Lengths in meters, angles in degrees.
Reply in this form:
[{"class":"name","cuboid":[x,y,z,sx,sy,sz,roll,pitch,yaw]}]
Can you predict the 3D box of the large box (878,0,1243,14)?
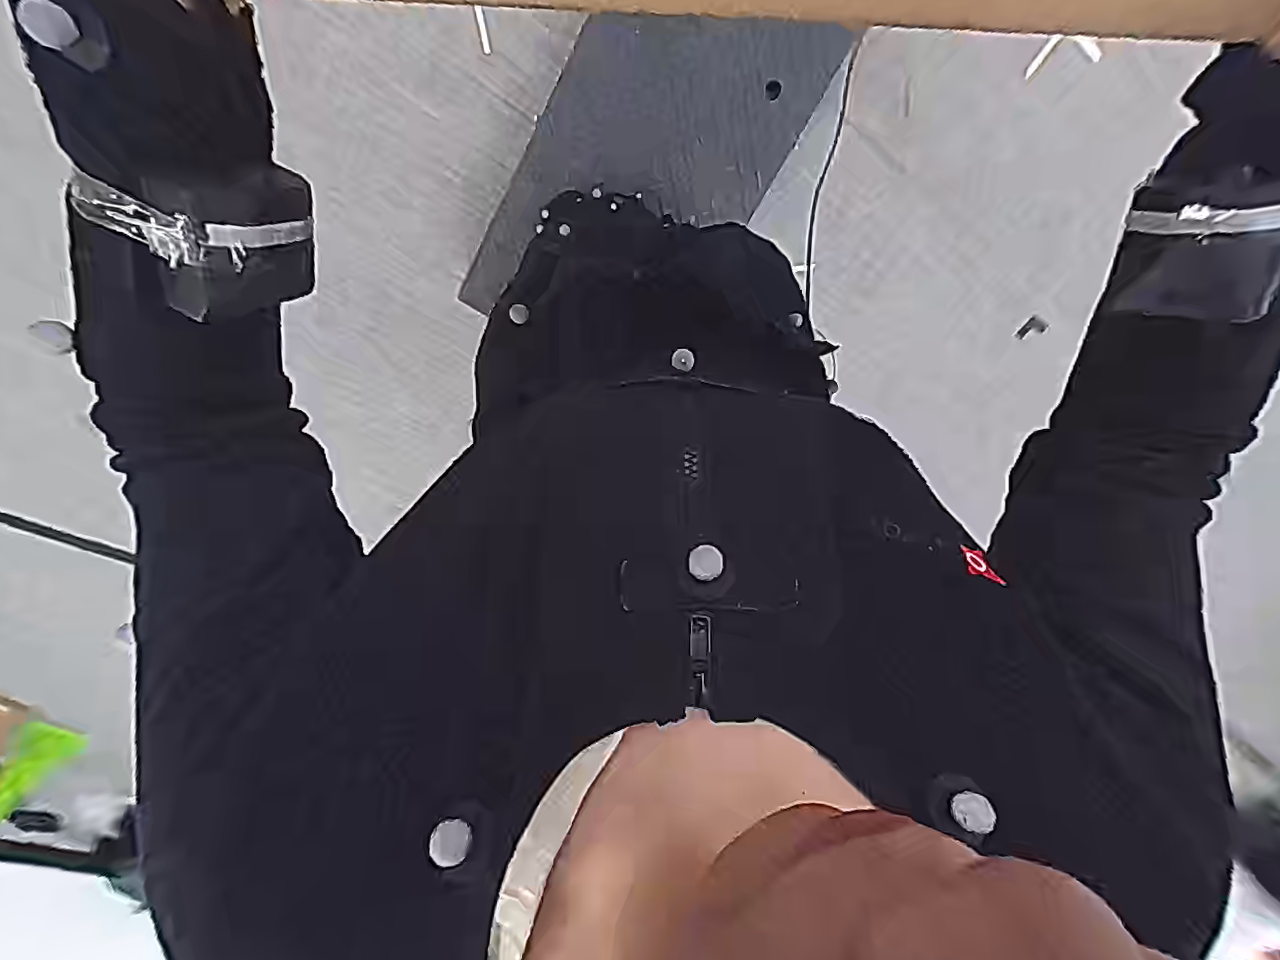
[{"class":"large box","cuboid":[0.053,-0.406,0.197,0.408,0.320,0.320,1,140,-3]}]
